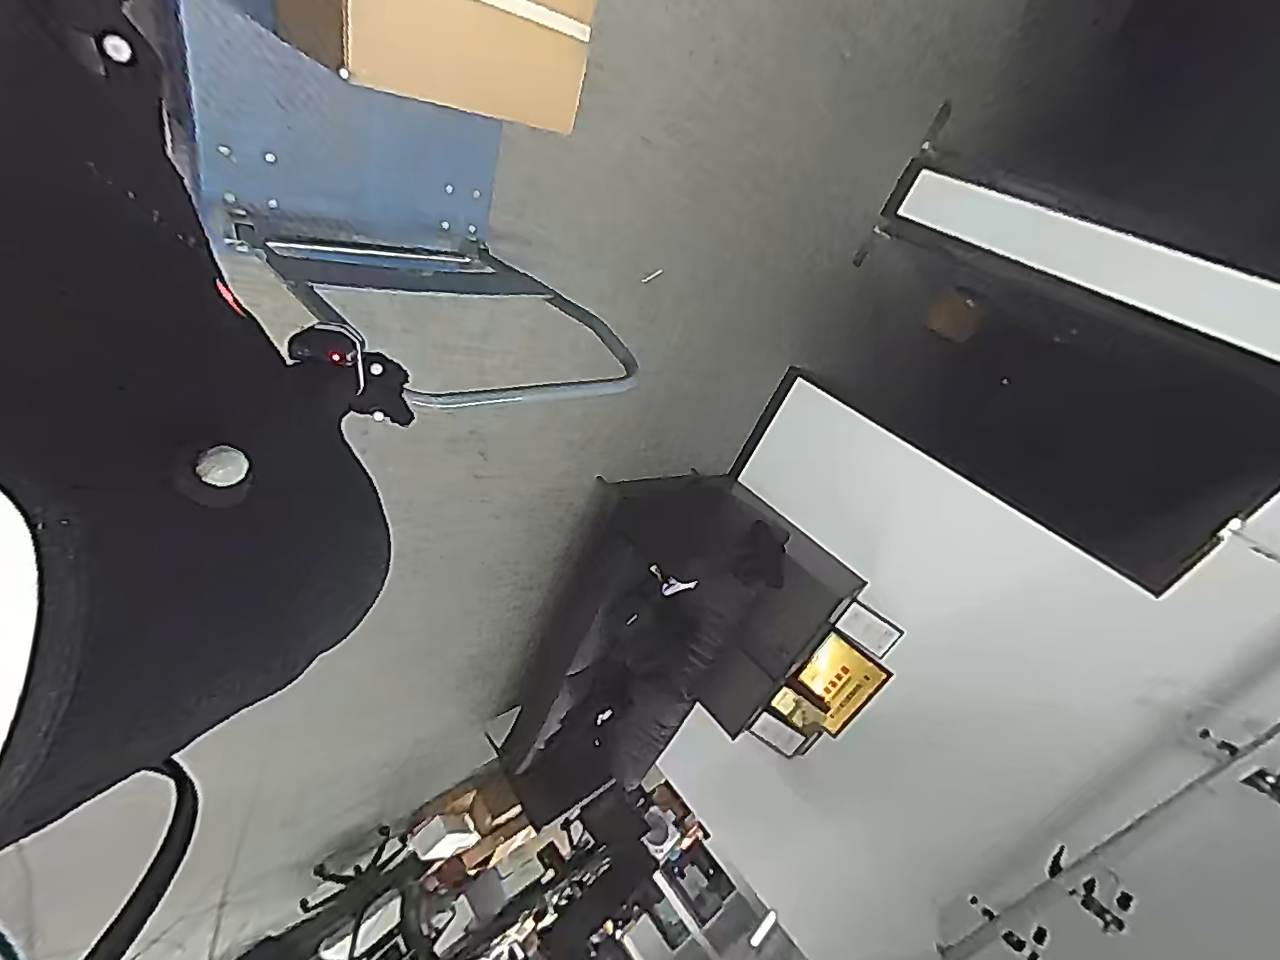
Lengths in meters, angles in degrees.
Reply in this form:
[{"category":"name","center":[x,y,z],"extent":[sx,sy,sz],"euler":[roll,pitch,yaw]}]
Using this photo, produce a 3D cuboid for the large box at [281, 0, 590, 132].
[{"category":"large box","center":[-0.337,-0.826,0.900],"extent":[0.408,0.320,0.320],"euler":[-18,138,-40]}]
